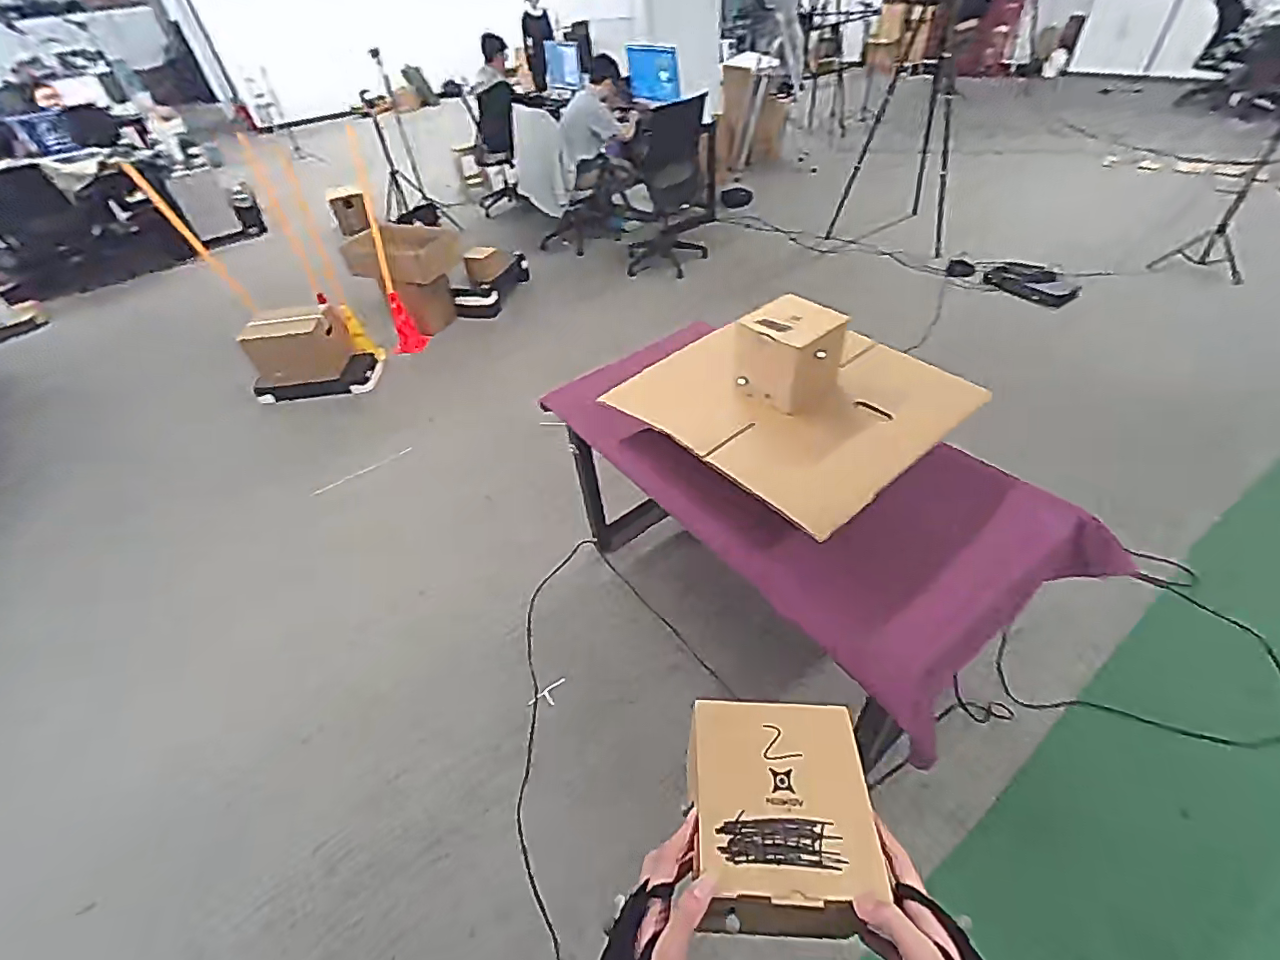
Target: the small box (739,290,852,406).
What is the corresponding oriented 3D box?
[{"bbox_3d":[0.336,-0.291,1.199,0.179,0.176,0.168,-32,51,-25],"label":"small box"}]
